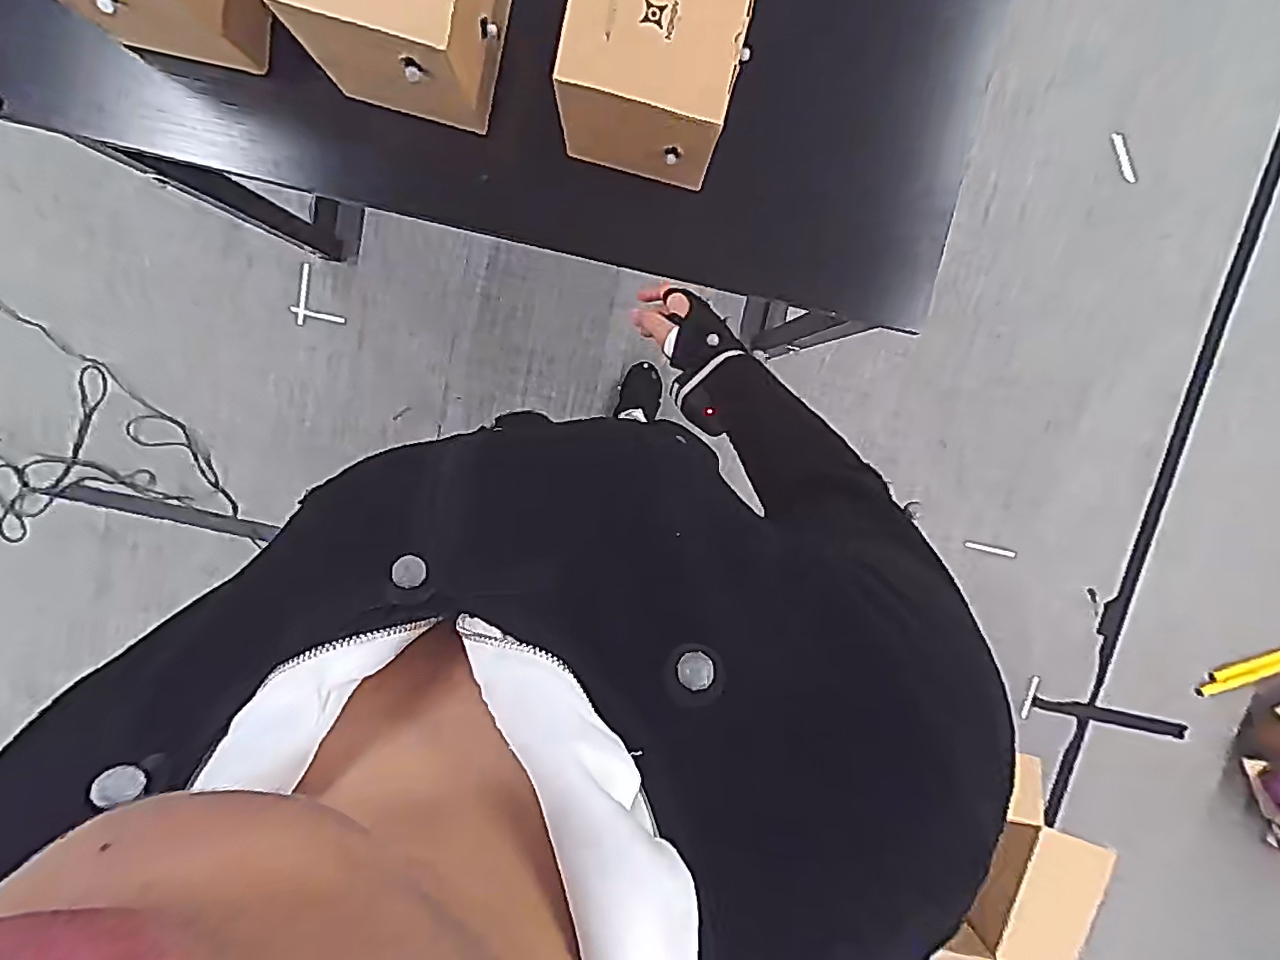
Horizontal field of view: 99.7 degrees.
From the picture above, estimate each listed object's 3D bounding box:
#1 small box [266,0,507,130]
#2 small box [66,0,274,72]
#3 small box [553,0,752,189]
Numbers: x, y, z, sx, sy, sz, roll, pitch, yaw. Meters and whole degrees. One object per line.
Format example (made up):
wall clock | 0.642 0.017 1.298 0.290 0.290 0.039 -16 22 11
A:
small box | -0.255 -0.518 0.586 0.179 0.176 0.168 13 97 -4
small box | -0.522 -0.573 0.566 0.179 0.176 0.168 10 97 -4
small box | 0.010 -0.456 0.608 0.179 0.176 0.168 11 95 -5
